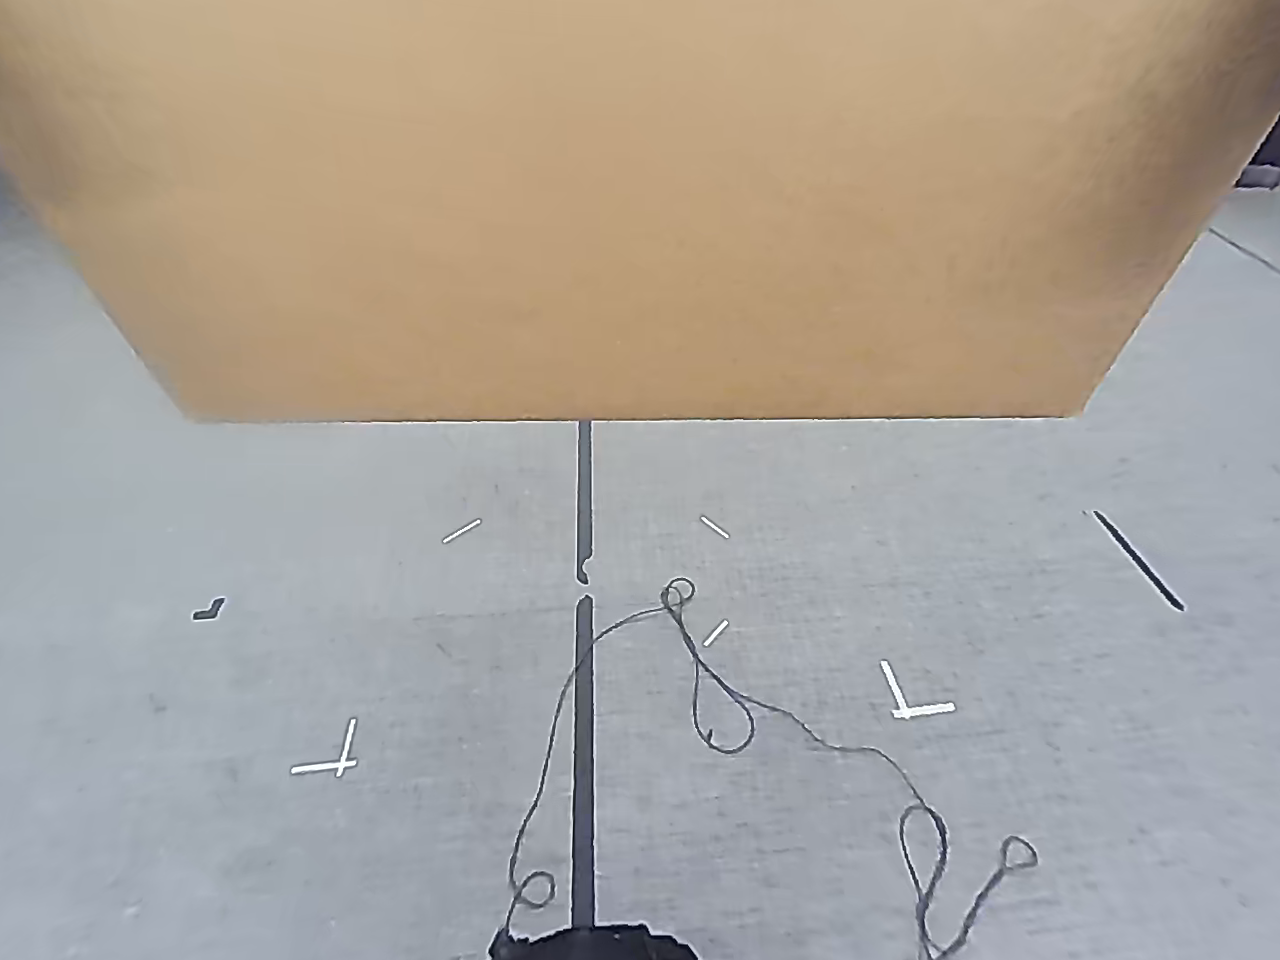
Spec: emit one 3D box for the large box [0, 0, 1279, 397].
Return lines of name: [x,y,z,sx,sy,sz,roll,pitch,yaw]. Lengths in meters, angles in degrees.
large box: [-0.005,-0.248,0.257,0.408,0.320,0.320,0,44,0]
